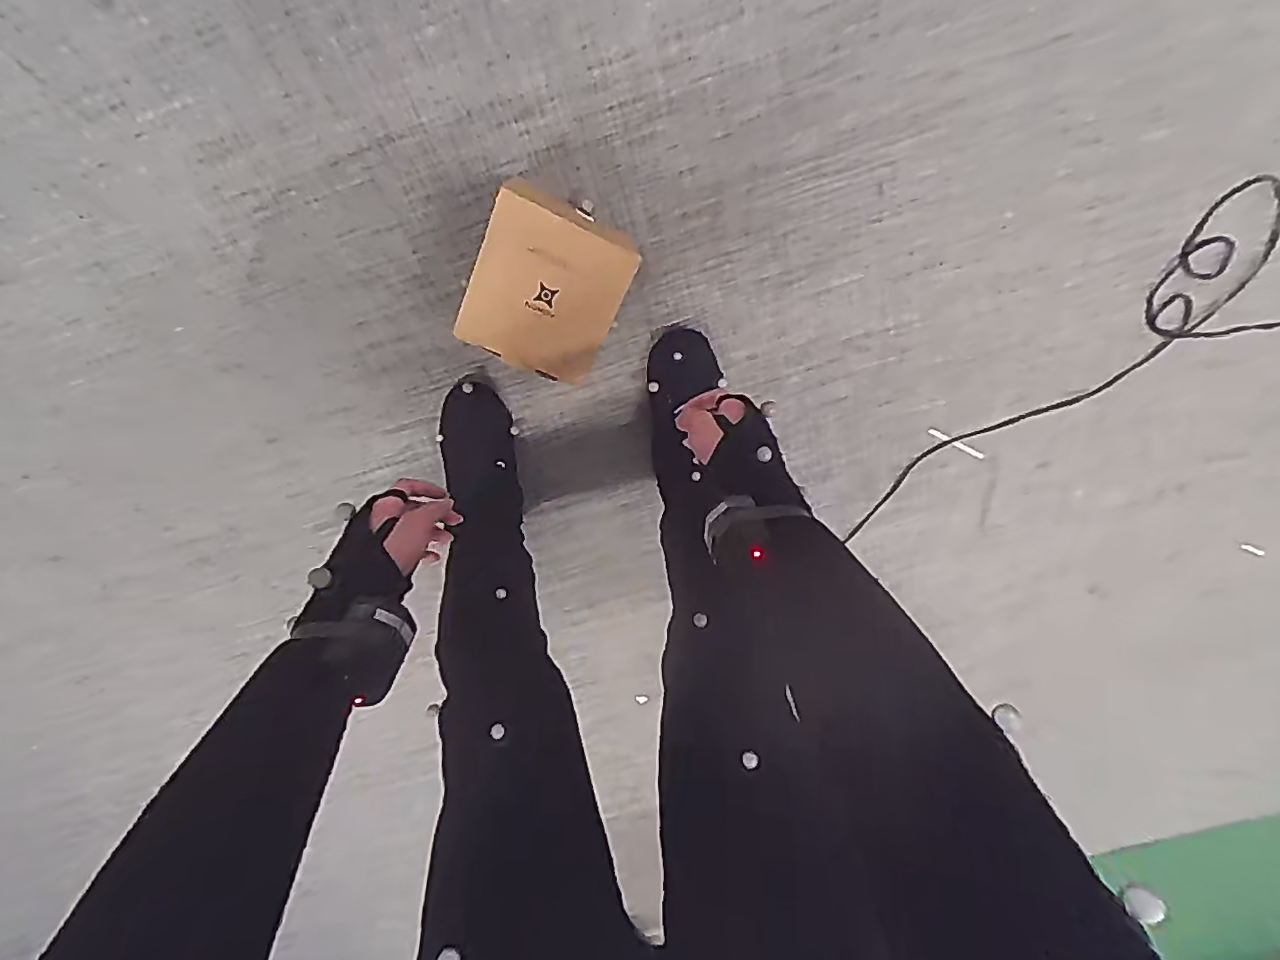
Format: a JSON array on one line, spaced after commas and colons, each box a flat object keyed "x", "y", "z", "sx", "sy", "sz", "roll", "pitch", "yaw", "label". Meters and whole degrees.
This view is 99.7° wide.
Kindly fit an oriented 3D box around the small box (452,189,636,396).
[{"x": -0.120, "y": -0.241, "z": 0.688, "sx": 0.168, "sy": 0.176, "sz": 0.179, "roll": 20, "pitch": 117, "yaw": -19, "label": "small box"}]
